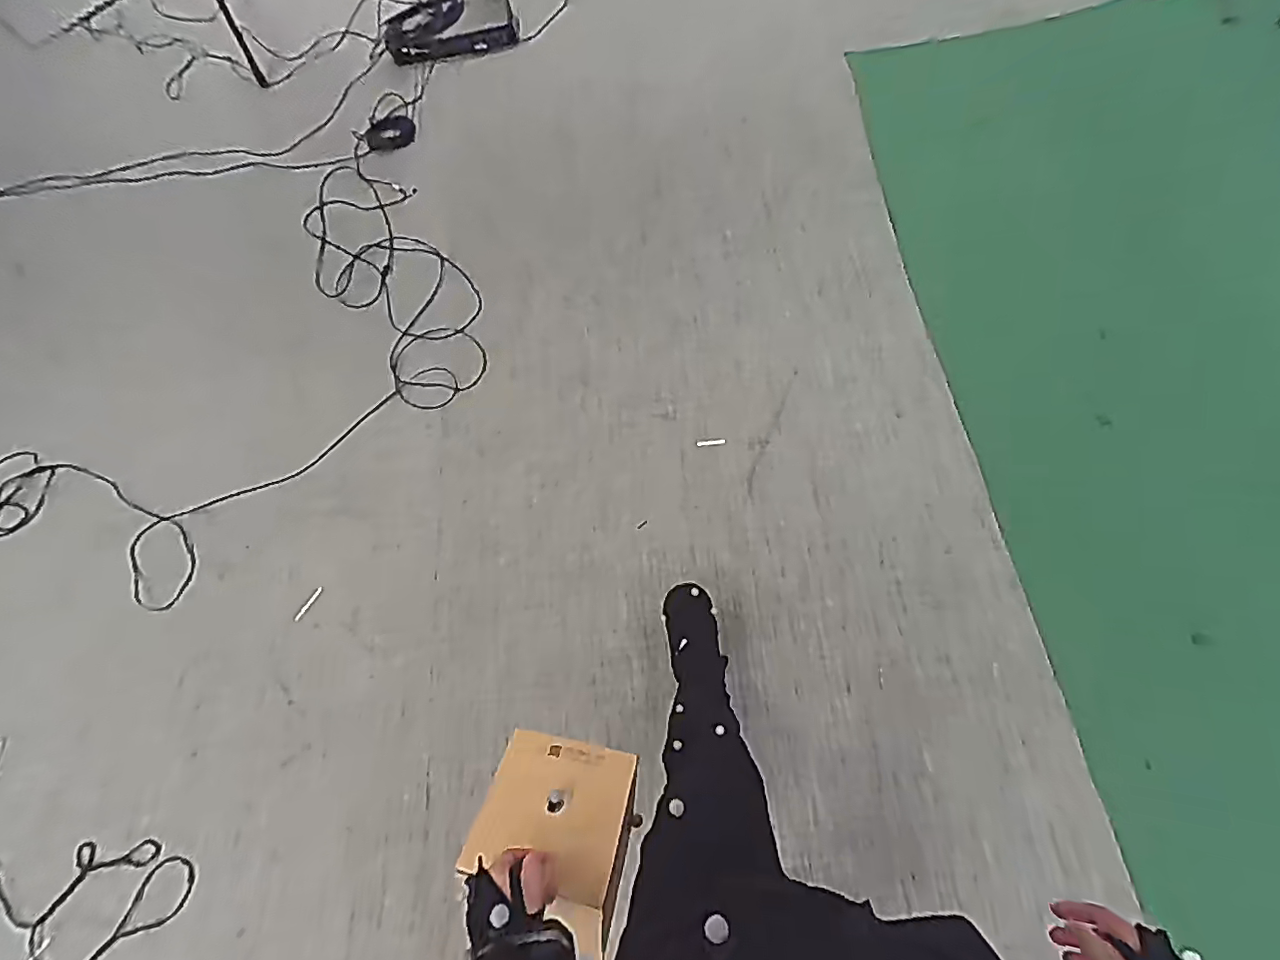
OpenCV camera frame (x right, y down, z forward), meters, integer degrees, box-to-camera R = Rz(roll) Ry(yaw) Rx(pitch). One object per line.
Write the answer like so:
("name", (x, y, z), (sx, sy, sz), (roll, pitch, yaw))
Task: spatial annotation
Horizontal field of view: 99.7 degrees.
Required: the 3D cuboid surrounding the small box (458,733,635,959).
("small box", (-0.104, 0.450, 0.676), (0.168, 0.179, 0.176), (9, 32, 8))
